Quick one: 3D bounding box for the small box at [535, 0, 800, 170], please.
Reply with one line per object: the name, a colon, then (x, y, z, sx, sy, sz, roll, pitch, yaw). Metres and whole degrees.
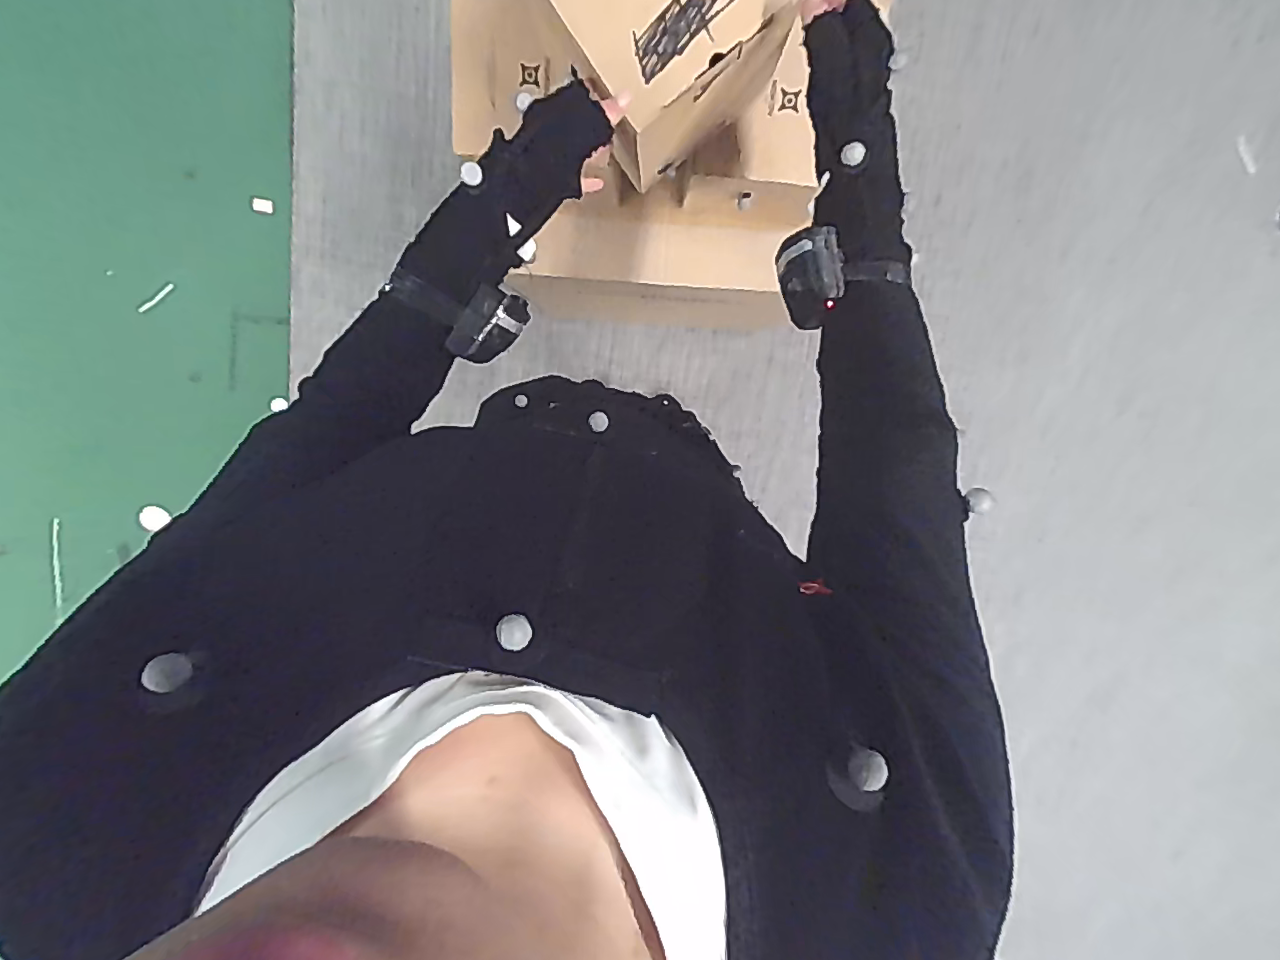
small box: (0.018, -0.418, 0.492, 0.168, 0.176, 0.179, -35, 99, 8)

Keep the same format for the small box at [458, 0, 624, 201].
small box: (-0.106, -0.452, 0.655, 0.179, 0.176, 0.168, 3, 102, 1)
